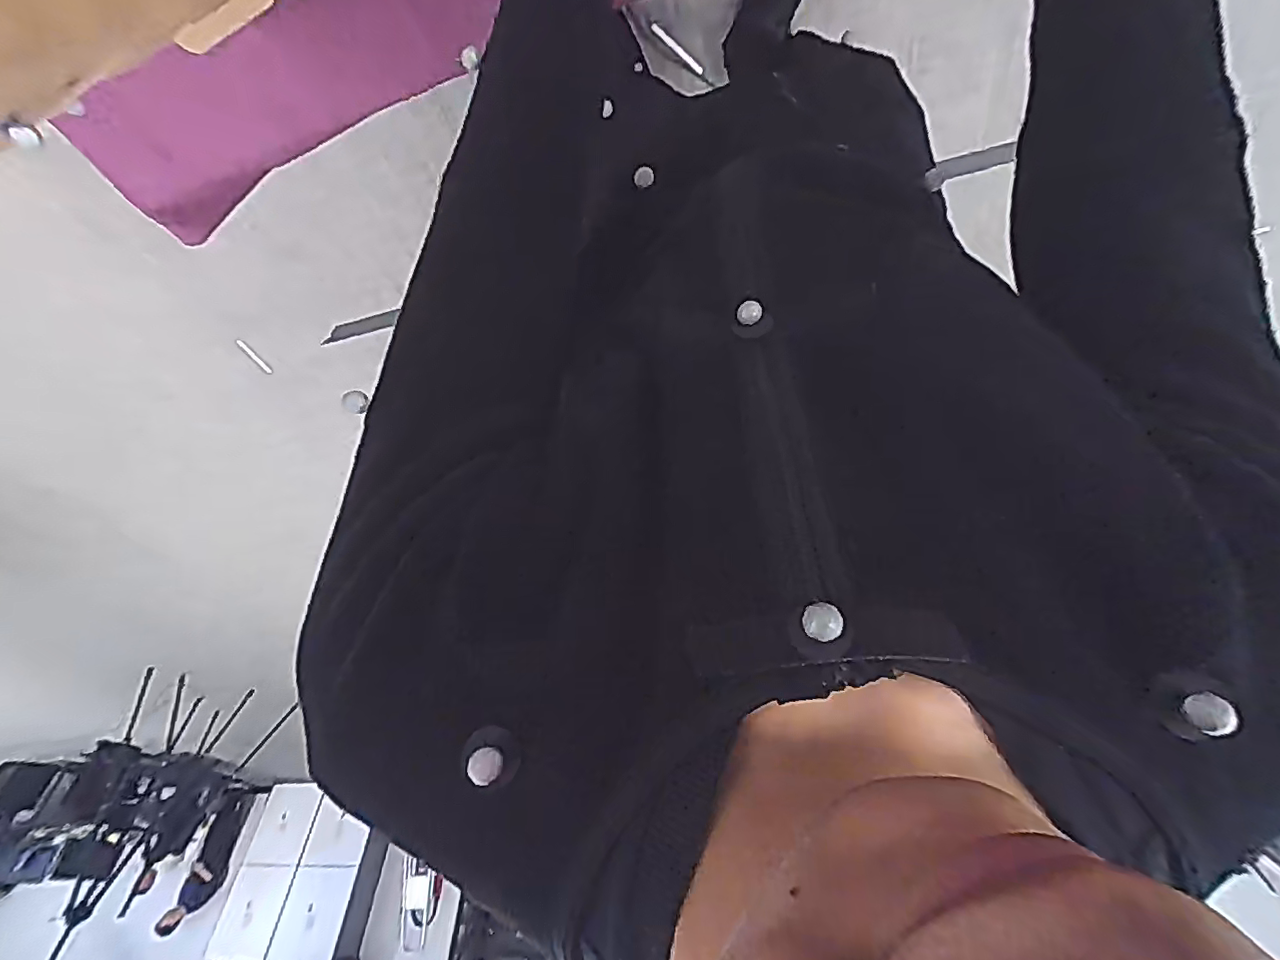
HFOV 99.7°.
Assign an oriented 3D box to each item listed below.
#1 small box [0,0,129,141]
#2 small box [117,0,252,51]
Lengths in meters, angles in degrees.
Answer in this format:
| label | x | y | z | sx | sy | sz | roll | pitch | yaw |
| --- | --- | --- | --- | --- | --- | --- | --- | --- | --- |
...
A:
| label | x | y | z | sx | sy | sz | roll | pitch | yaw |
| --- | --- | --- | --- | --- | --- | --- | --- | --- | --- |
| small box | -0.405 | -0.242 | 0.235 | 0.168 | 0.176 | 0.179 | -15 | 136 | 20 |
| small box | -0.386 | -0.503 | 0.438 | 0.168 | 0.176 | 0.179 | -14 | 137 | 17 |
